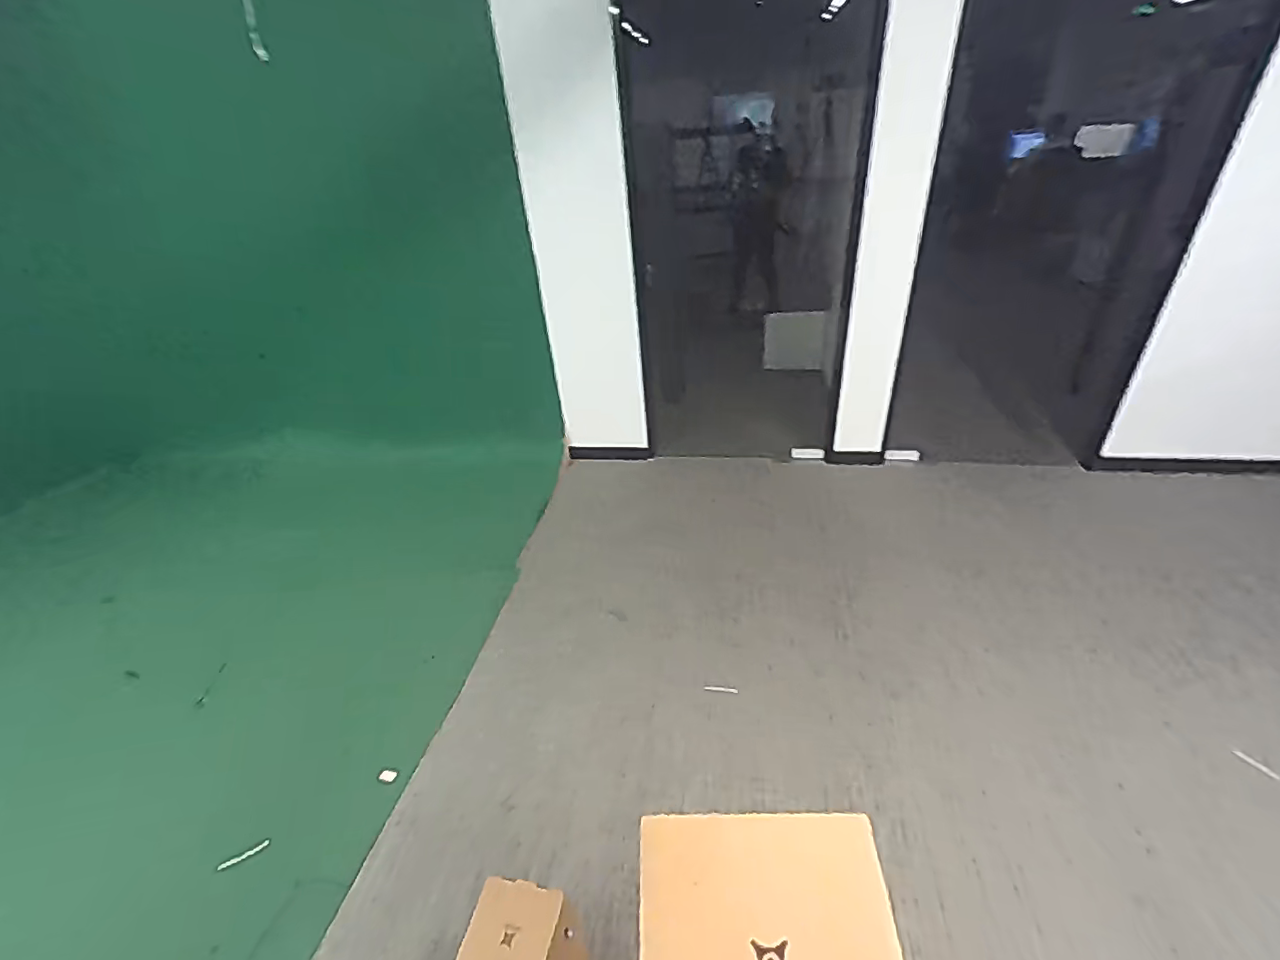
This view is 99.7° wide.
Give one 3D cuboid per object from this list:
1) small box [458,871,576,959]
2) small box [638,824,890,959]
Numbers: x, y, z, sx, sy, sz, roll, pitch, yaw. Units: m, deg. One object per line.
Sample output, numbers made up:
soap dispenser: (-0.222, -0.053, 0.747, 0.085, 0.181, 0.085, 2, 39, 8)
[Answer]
small box: (-0.230, 0.907, 1.049, 0.168, 0.176, 0.179, 2, 35, 13)
small box: (0.082, 0.373, 0.395, 0.168, 0.176, 0.179, -3, 46, 2)
